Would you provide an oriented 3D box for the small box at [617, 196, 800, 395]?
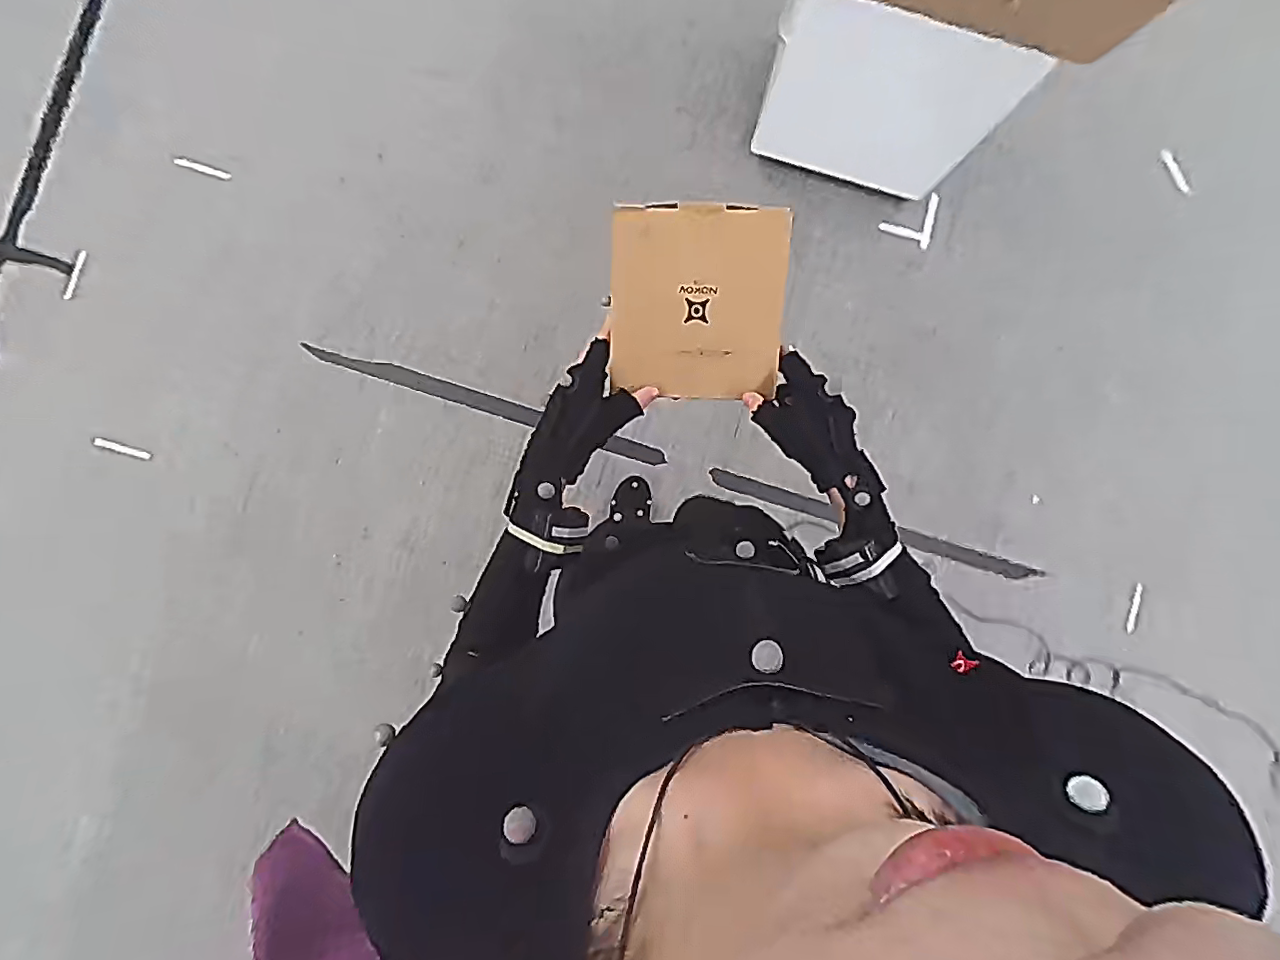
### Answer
[{"bbox_3d":[0.064,-0.192,0.586,0.168,0.176,0.179,2,106,3],"label":"small box"}]
